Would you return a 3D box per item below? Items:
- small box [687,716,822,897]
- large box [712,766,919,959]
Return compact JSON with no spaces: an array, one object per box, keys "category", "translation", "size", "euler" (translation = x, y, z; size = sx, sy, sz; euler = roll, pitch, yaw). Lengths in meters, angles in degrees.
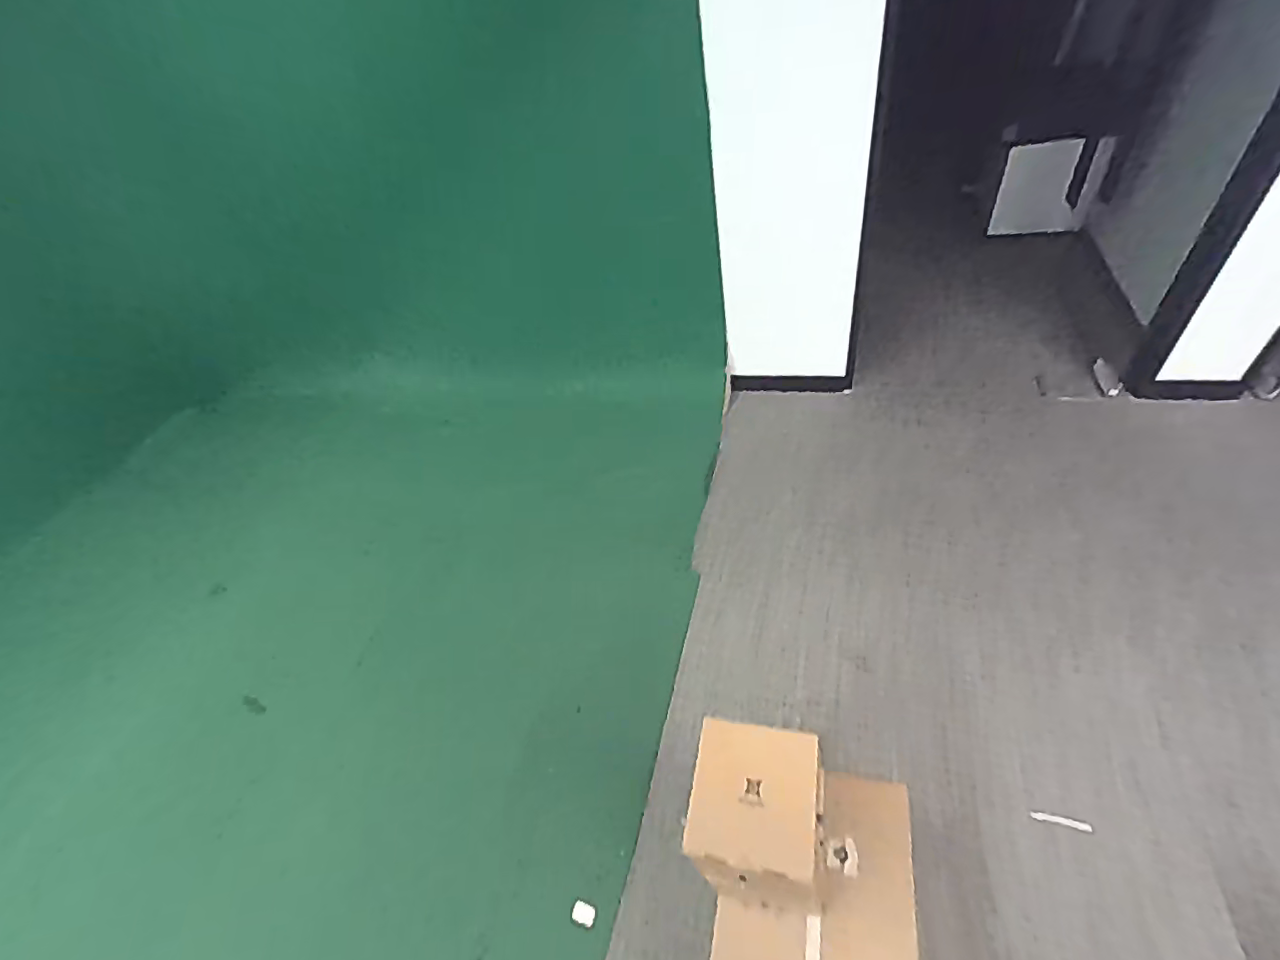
[{"category":"small box","translation":[0.176,0.474,0.789],"size":[0.168,0.176,0.179],"euler":[1,48,20]},{"category":"large box","translation":[0.326,0.795,1.015],"size":[0.320,0.320,0.408],"euler":[3,47,18]}]
